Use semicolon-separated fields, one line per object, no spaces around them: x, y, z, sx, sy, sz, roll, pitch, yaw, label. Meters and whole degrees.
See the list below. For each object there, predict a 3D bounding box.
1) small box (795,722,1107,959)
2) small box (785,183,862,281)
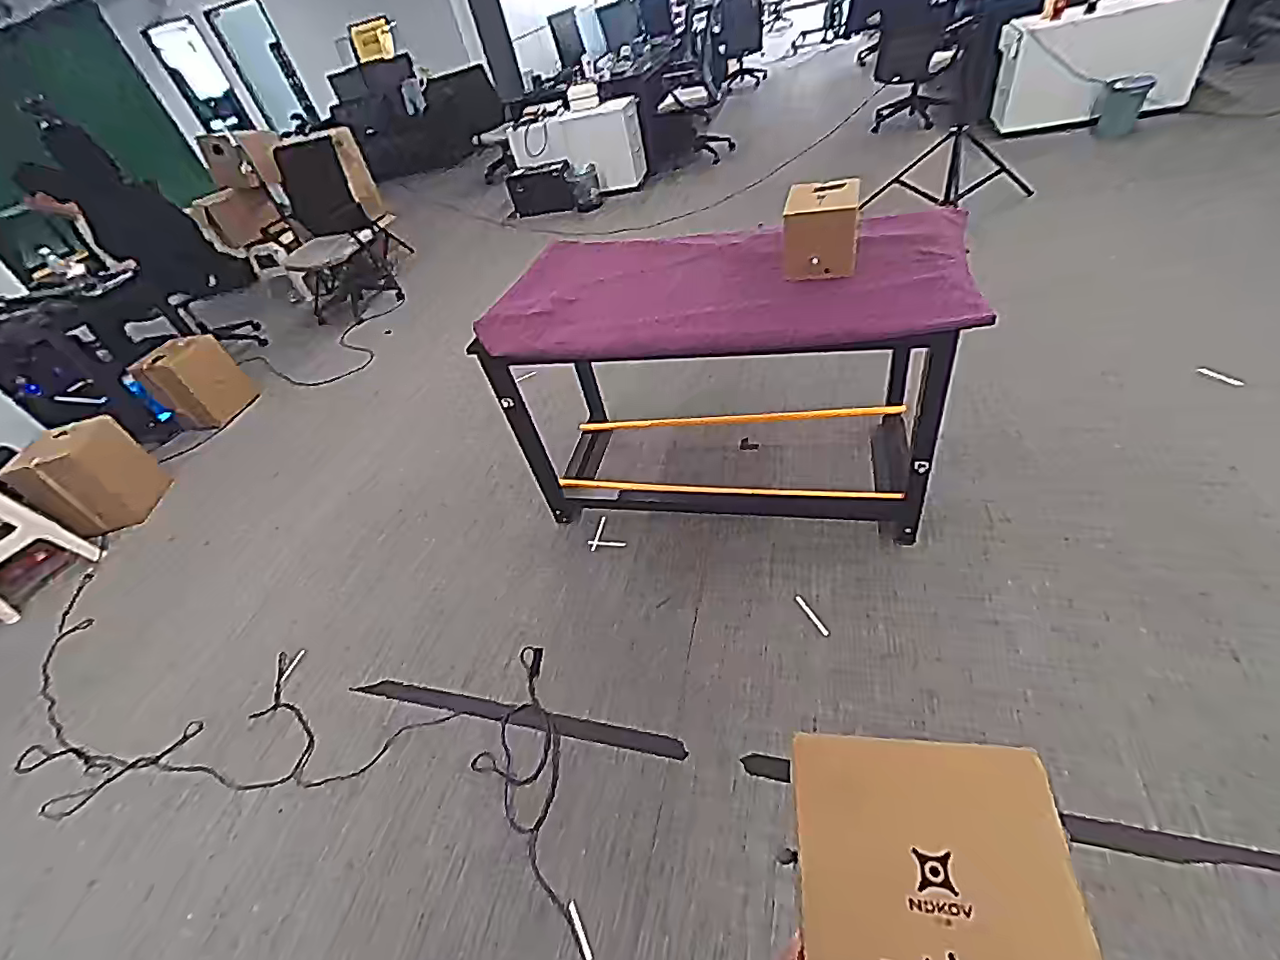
0.204;0.301;0.401;0.168;0.176;0.179;-2;50;14;small box
0.456;-0.617;1.350;0.168;0.176;0.179;4;47;21;small box
